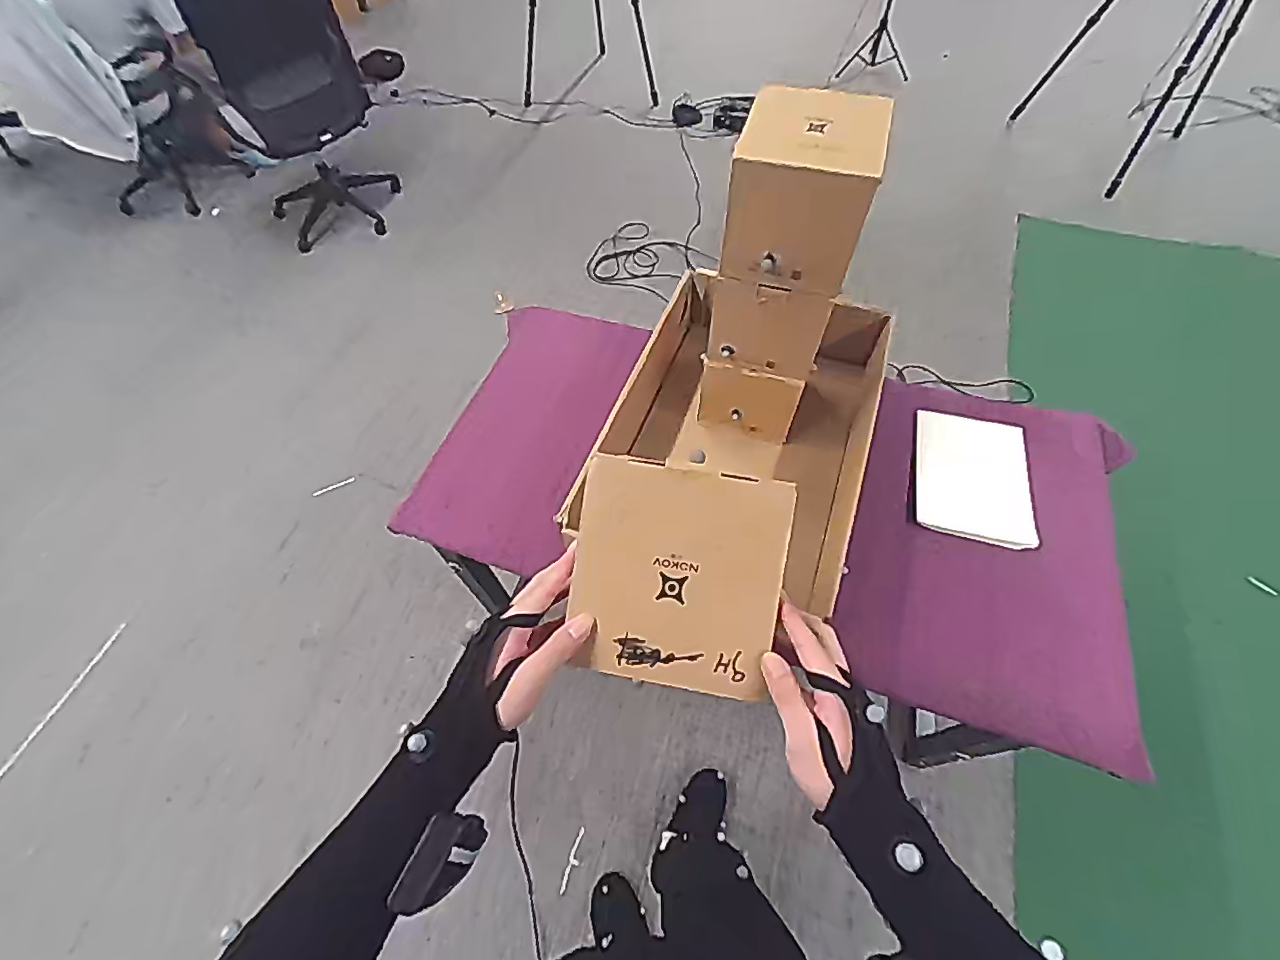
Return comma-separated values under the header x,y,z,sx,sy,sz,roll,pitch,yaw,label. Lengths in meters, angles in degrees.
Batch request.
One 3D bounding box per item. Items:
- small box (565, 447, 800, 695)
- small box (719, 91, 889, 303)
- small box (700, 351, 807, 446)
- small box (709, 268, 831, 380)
x,y,z,sx,sy,sz,roll,pitch,yaw,label
0.040,0.071,0.511,0.168,0.176,0.179,10,92,7,small box
0.206,-0.367,0.708,0.168,0.176,0.179,15,61,11,small box
0.210,-0.192,0.984,0.168,0.176,0.179,15,61,11,small box
0.208,-0.284,0.848,0.168,0.176,0.179,15,60,10,small box
